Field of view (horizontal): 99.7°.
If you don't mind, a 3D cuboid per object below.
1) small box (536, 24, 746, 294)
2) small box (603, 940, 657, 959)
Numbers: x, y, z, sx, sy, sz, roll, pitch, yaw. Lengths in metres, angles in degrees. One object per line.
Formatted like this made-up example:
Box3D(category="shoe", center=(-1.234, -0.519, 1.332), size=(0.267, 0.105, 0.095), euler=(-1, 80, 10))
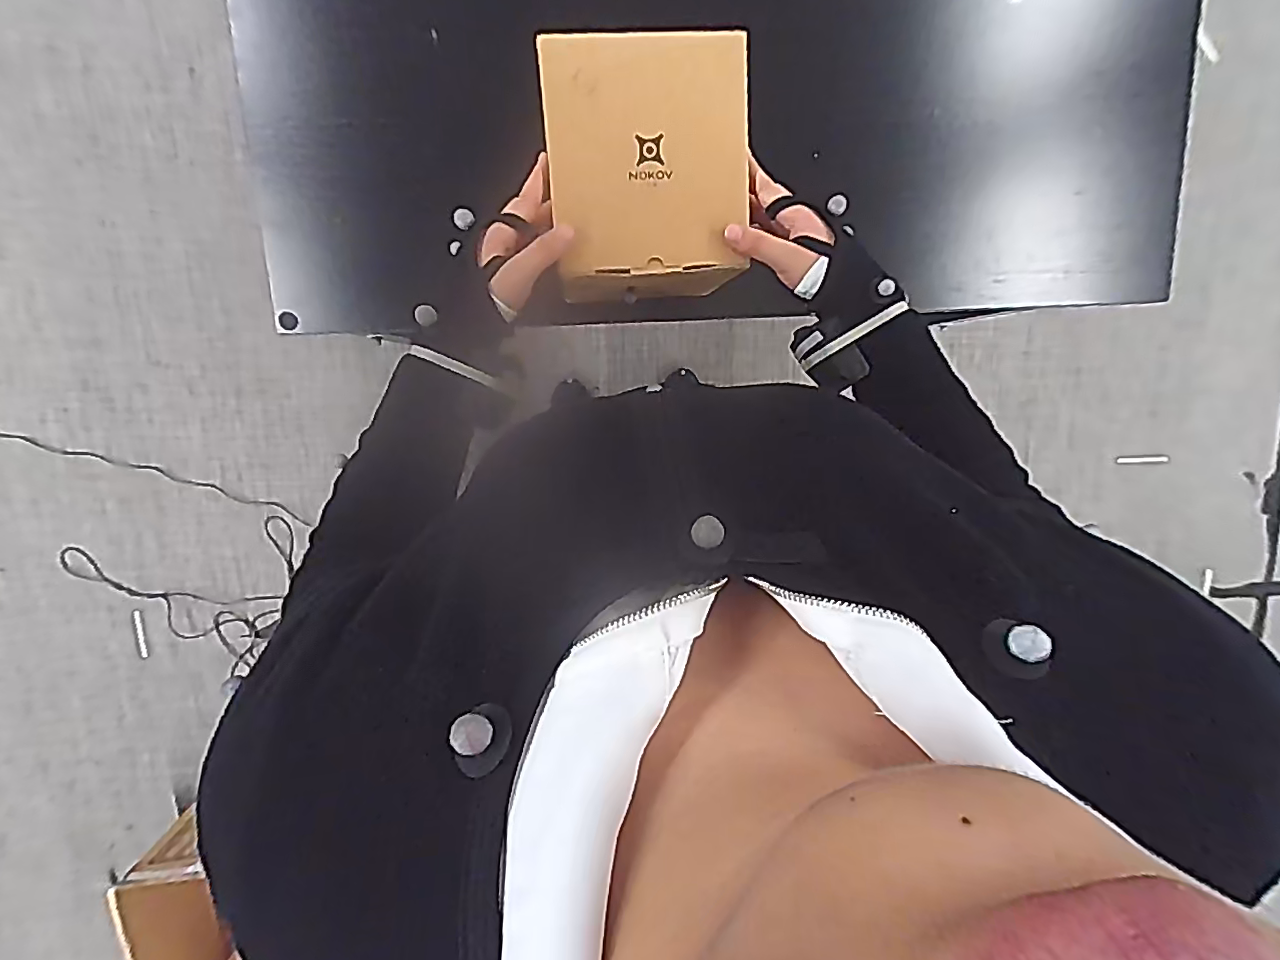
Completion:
Box3D(category="small box", center=(-0.004, -0.282, 0.512), size=(0.168, 0.176, 0.179), euler=(-5, 103, -4))
Box3D(category="small box", center=(-0.029, 1.545, 1.641), size=(0.168, 0.176, 0.179), euler=(1, 98, -5))
